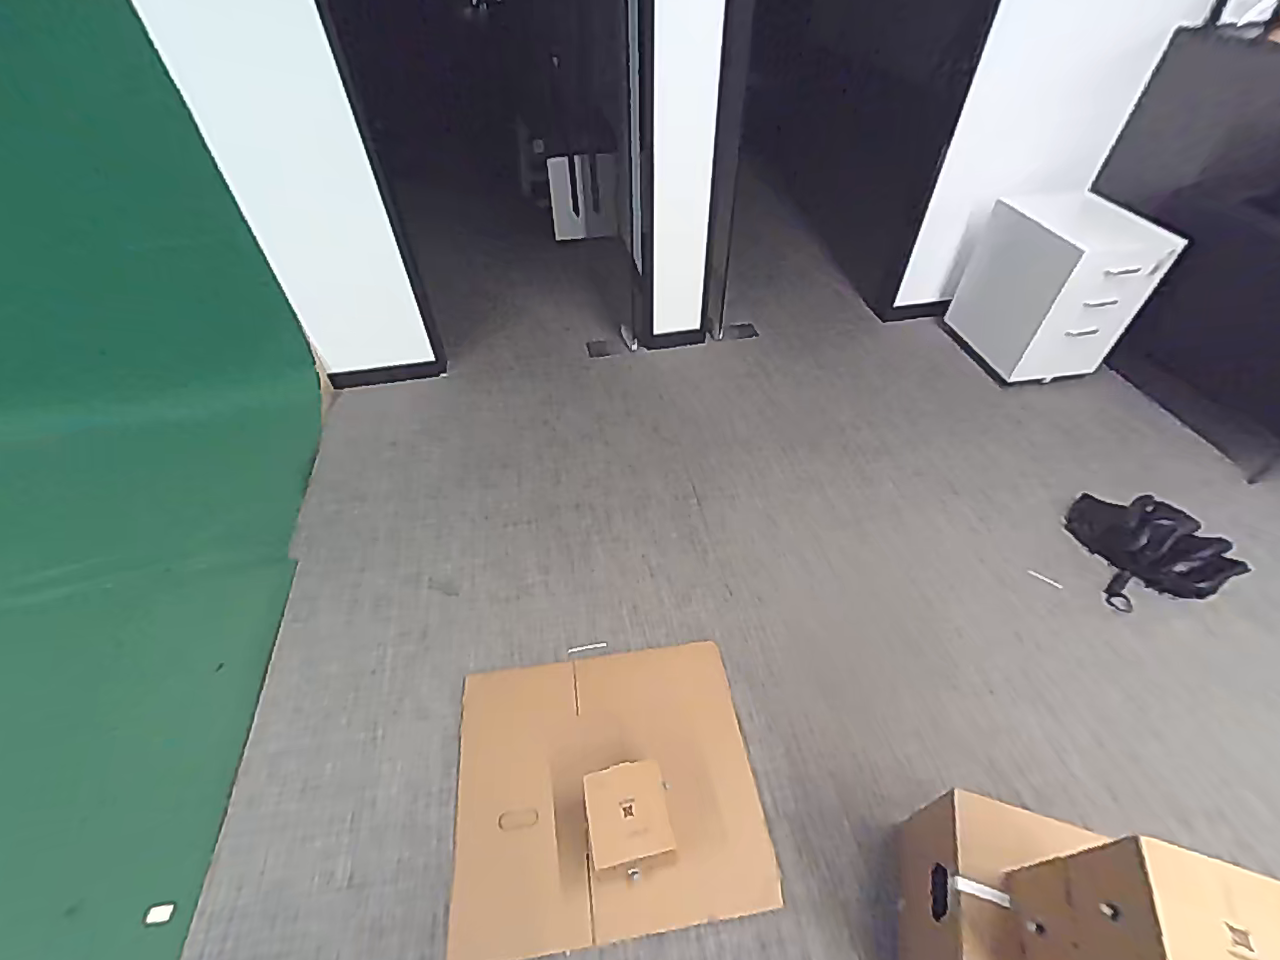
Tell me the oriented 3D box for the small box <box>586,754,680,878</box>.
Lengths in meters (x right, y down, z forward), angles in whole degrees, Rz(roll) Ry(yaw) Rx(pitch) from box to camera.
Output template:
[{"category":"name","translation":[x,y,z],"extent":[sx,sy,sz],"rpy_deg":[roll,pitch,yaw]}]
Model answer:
[{"category":"small box","translation":[-0.014,0.723,1.162],"extent":[0.168,0.176,0.179],"rpy_deg":[-13,48,-5]}]

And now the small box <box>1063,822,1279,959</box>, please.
[{"category":"small box","translation":[0.665,0.564,0.664],"extent":[0.168,0.176,0.179],"rpy_deg":[14,48,14]}]
